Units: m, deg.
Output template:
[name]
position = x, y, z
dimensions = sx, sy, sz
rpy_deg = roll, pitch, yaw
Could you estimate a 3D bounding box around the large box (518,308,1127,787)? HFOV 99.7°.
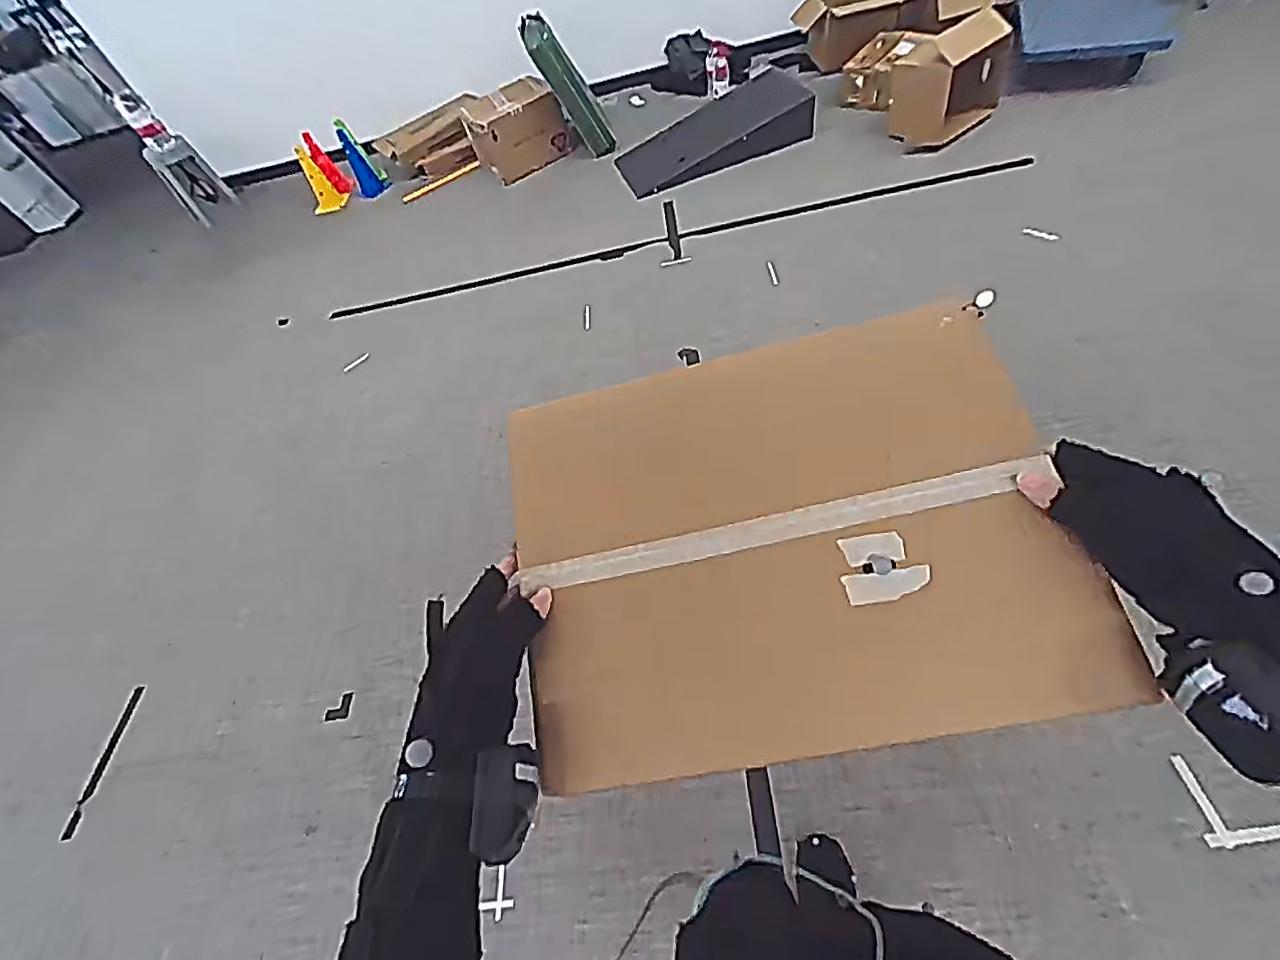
[large box]
position = 0.131, 0.088, 0.566
dimensions = 0.408, 0.320, 0.320
rpy_deg = -14, 70, 7
